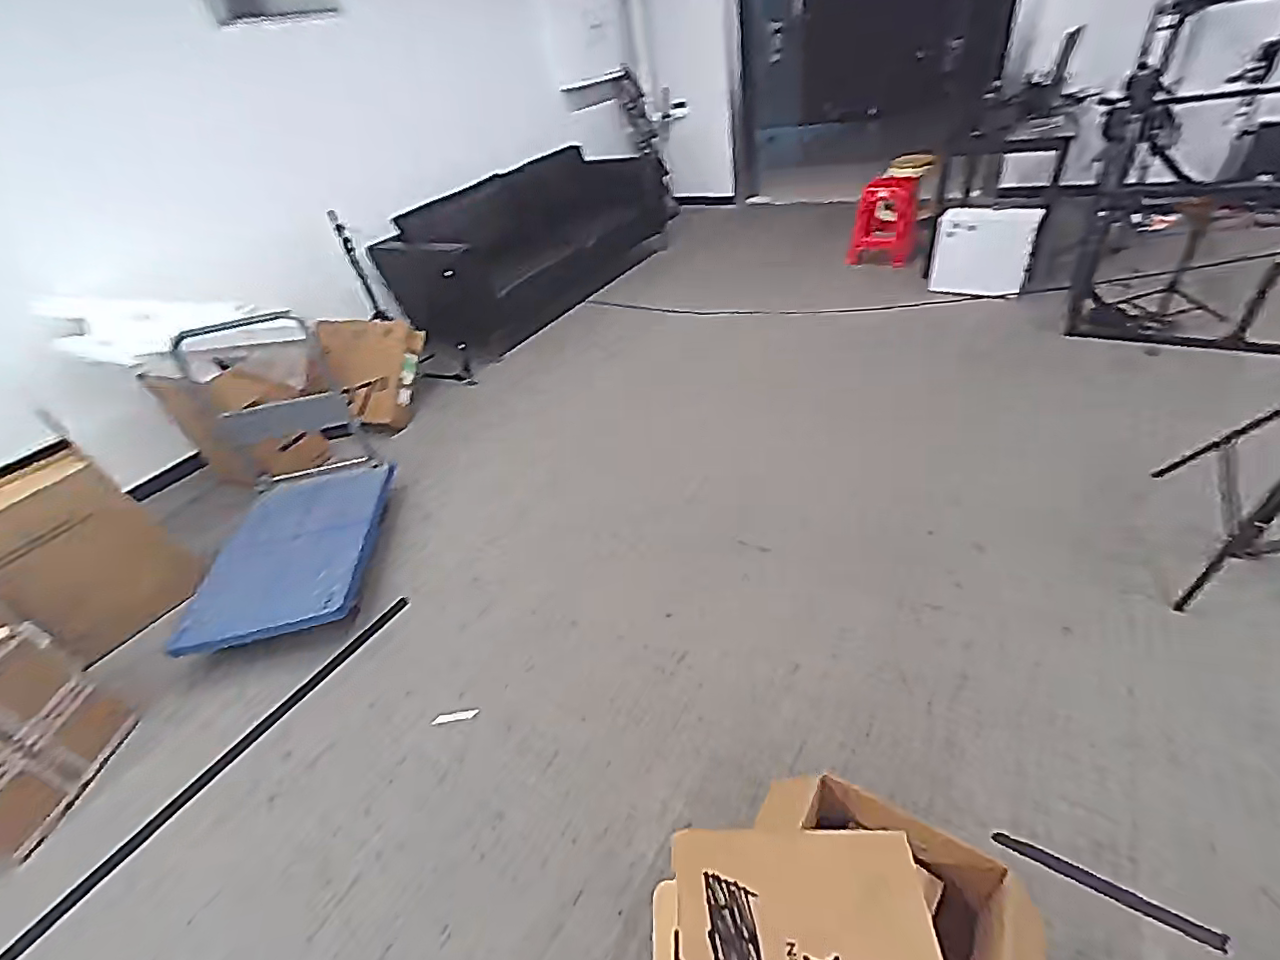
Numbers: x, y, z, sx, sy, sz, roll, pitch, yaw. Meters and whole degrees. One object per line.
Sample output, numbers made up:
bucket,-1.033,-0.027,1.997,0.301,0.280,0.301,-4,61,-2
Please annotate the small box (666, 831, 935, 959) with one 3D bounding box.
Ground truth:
small box,0.111,0.381,0.402,0.179,0.176,0.168,-2,42,3
